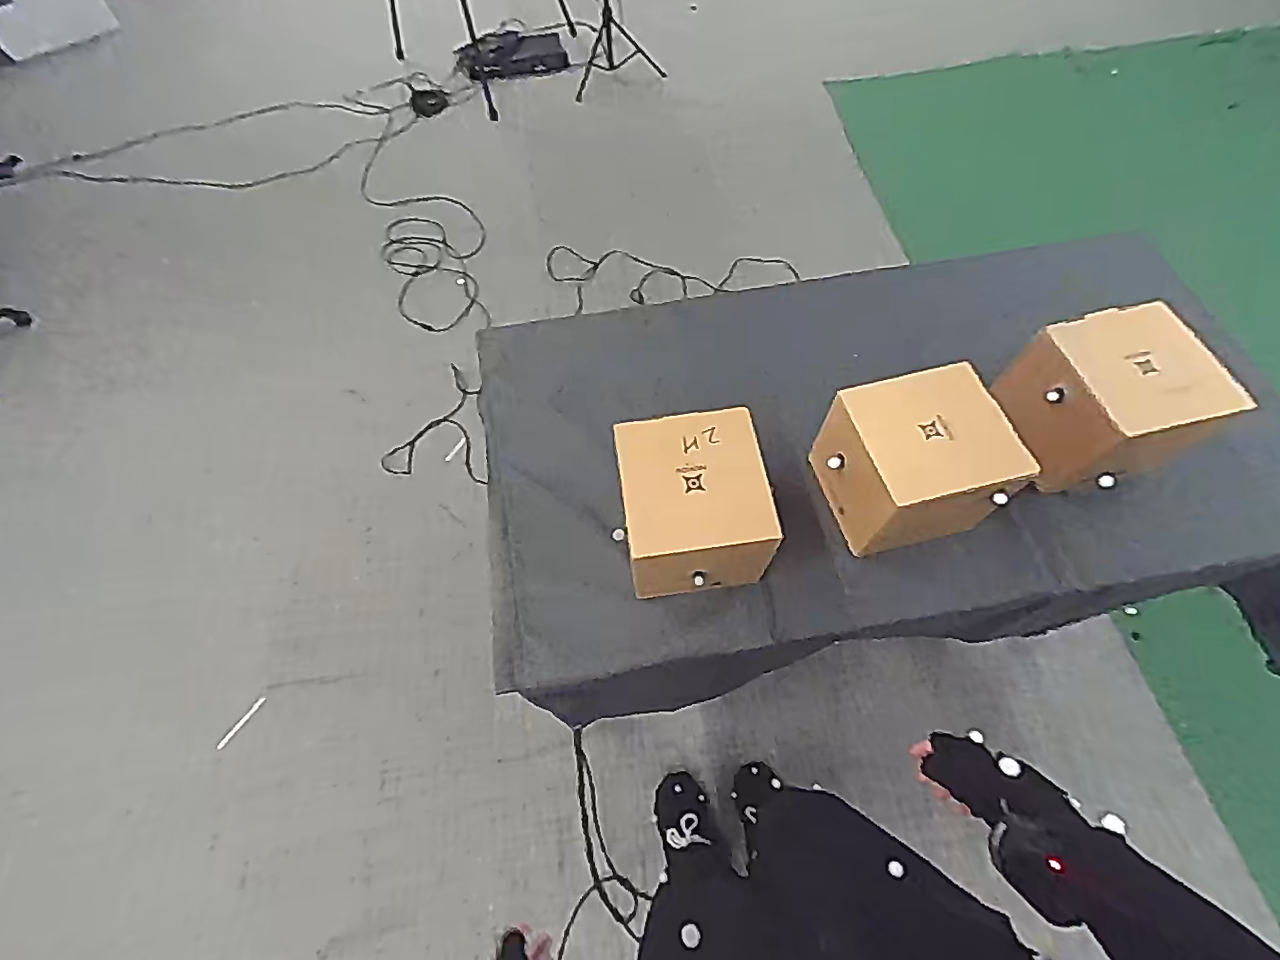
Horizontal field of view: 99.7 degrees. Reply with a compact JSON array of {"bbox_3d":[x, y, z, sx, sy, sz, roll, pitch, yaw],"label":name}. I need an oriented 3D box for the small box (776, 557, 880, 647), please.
[{"bbox_3d":[0.457,0.305,1.340,0.179,0.176,0.168,-11,64,-2],"label":"small box"}]

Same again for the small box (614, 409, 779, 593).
[{"bbox_3d":[0.063,0.036,0.679,0.168,0.176,0.179,-7,63,-2],"label":"small box"}]

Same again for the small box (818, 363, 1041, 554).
[{"bbox_3d":[0.347,-0.019,0.697,0.179,0.176,0.168,-14,64,-4],"label":"small box"}]

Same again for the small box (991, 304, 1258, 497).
[{"bbox_3d":[0.615,-0.101,0.723,0.168,0.176,0.179,-12,64,-2],"label":"small box"}]
